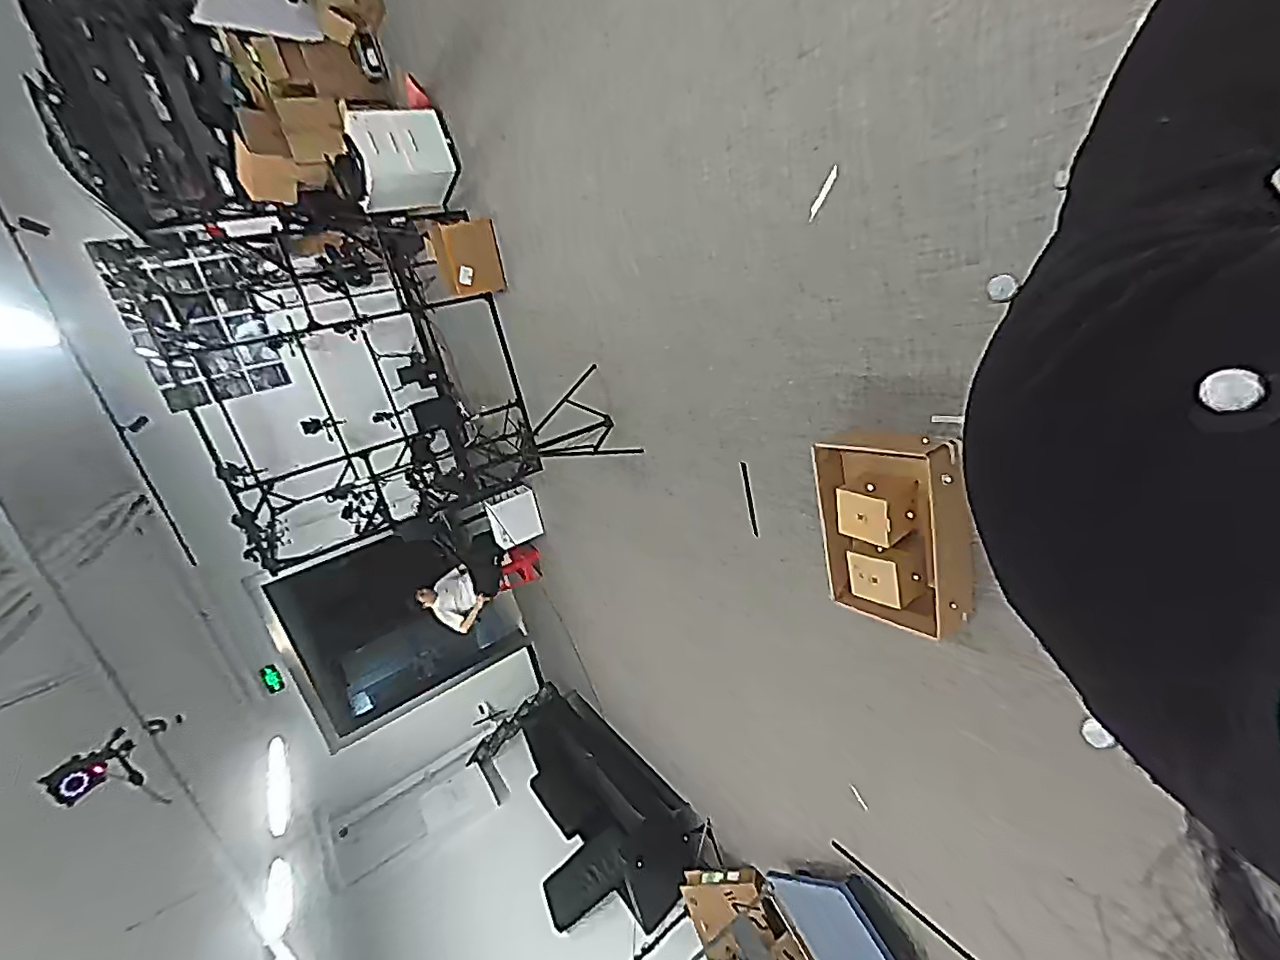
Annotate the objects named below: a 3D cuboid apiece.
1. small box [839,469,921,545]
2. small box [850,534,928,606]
[{"bbox_3d":[0.762,0.077,1.720,0.179,0.176,0.168,21,129,52],"label":"small box"},{"bbox_3d":[0.820,0.281,1.769,0.179,0.176,0.168,12,119,56],"label":"small box"}]
